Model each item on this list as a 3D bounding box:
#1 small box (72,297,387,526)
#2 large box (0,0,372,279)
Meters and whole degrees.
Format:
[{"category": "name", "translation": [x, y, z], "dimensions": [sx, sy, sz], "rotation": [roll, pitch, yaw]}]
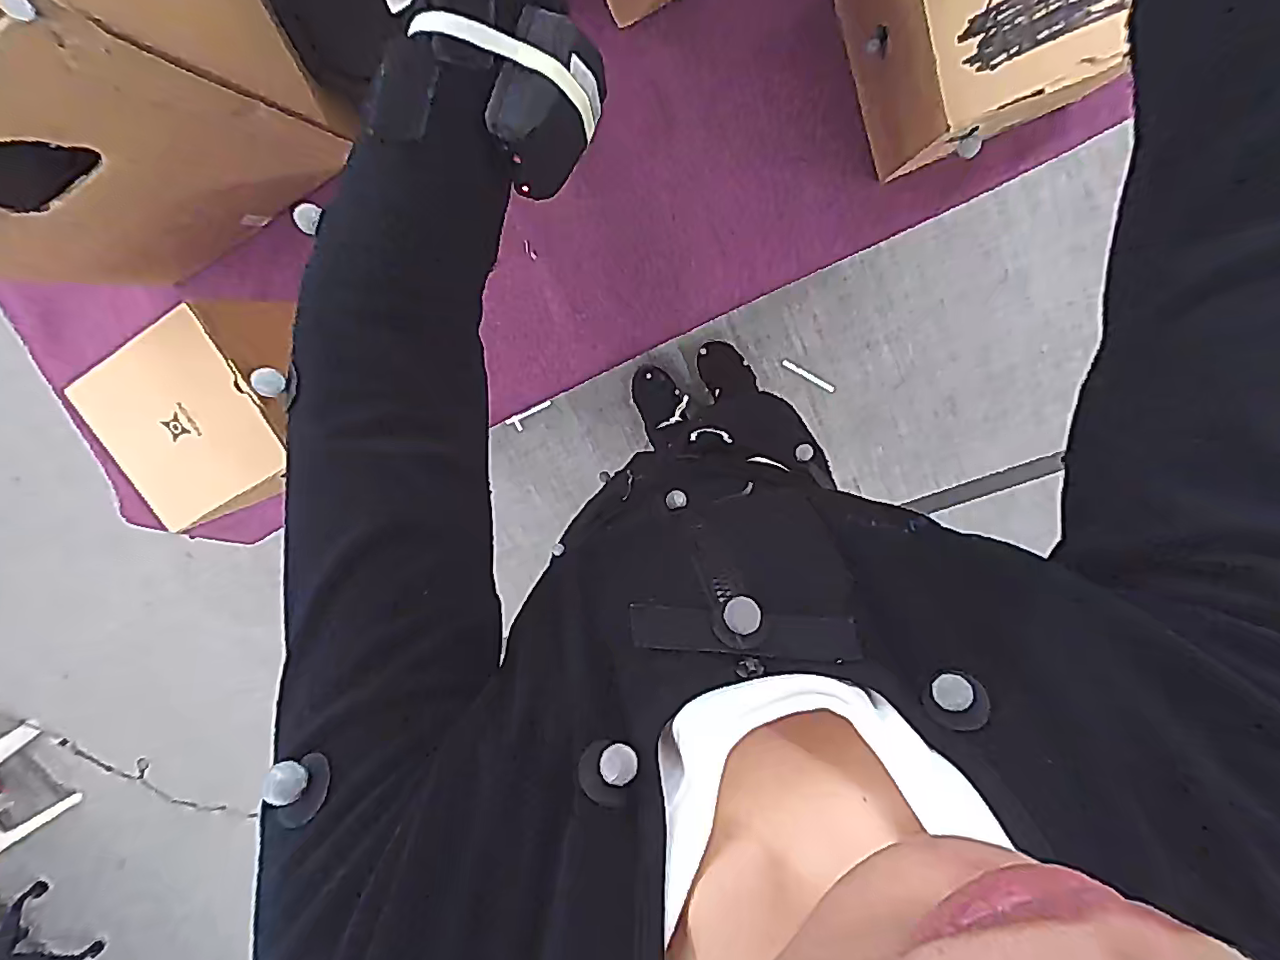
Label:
[{"category": "small box", "translation": [-0.422, -0.078, 0.587], "dimensions": [0.179, 0.176, 0.168], "rotation": [-26, 101, 13]}, {"category": "large box", "translation": [-0.515, -0.416, 0.417], "dimensions": [0.320, 0.320, 0.408], "rotation": [-24, 105, 15]}]
